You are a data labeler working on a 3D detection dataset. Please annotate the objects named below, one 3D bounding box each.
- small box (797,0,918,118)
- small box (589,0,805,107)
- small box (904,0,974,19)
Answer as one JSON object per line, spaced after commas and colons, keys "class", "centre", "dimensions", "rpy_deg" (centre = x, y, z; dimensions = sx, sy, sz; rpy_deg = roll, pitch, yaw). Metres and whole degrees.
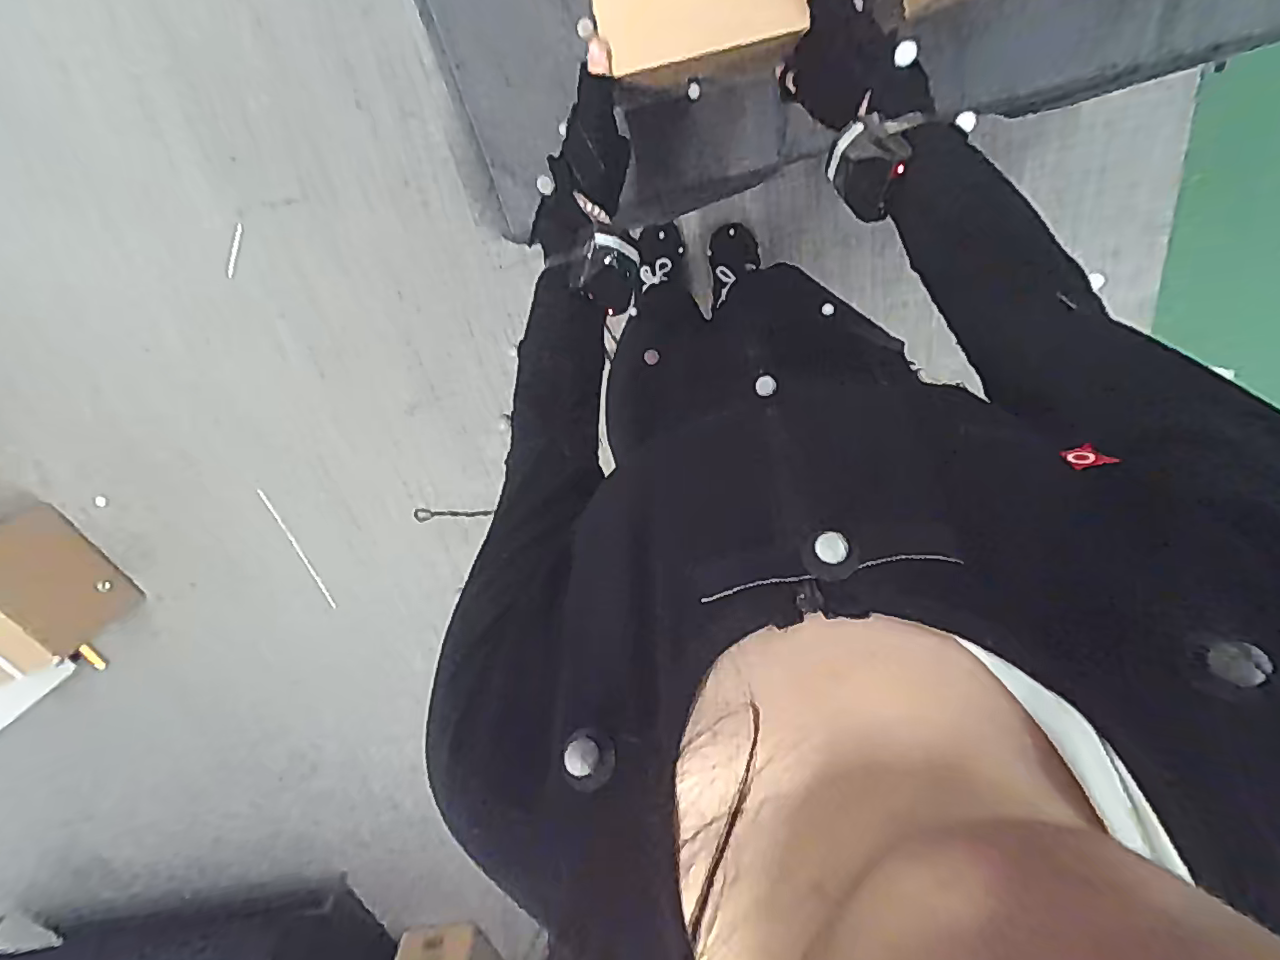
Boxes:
{"class": "small box", "centre": [0.422, -0.841, 1.065], "dimensions": [0.179, 0.176, 0.168], "rpy_deg": [-12, 116, 9]}
{"class": "small box", "centre": [0.038, -0.443, 0.465], "dimensions": [0.168, 0.176, 0.179], "rpy_deg": [-9, 116, 6]}
{"class": "small box", "centre": [0.318, -0.510, 0.424], "dimensions": [0.179, 0.176, 0.168], "rpy_deg": [-16, 115, 10]}
